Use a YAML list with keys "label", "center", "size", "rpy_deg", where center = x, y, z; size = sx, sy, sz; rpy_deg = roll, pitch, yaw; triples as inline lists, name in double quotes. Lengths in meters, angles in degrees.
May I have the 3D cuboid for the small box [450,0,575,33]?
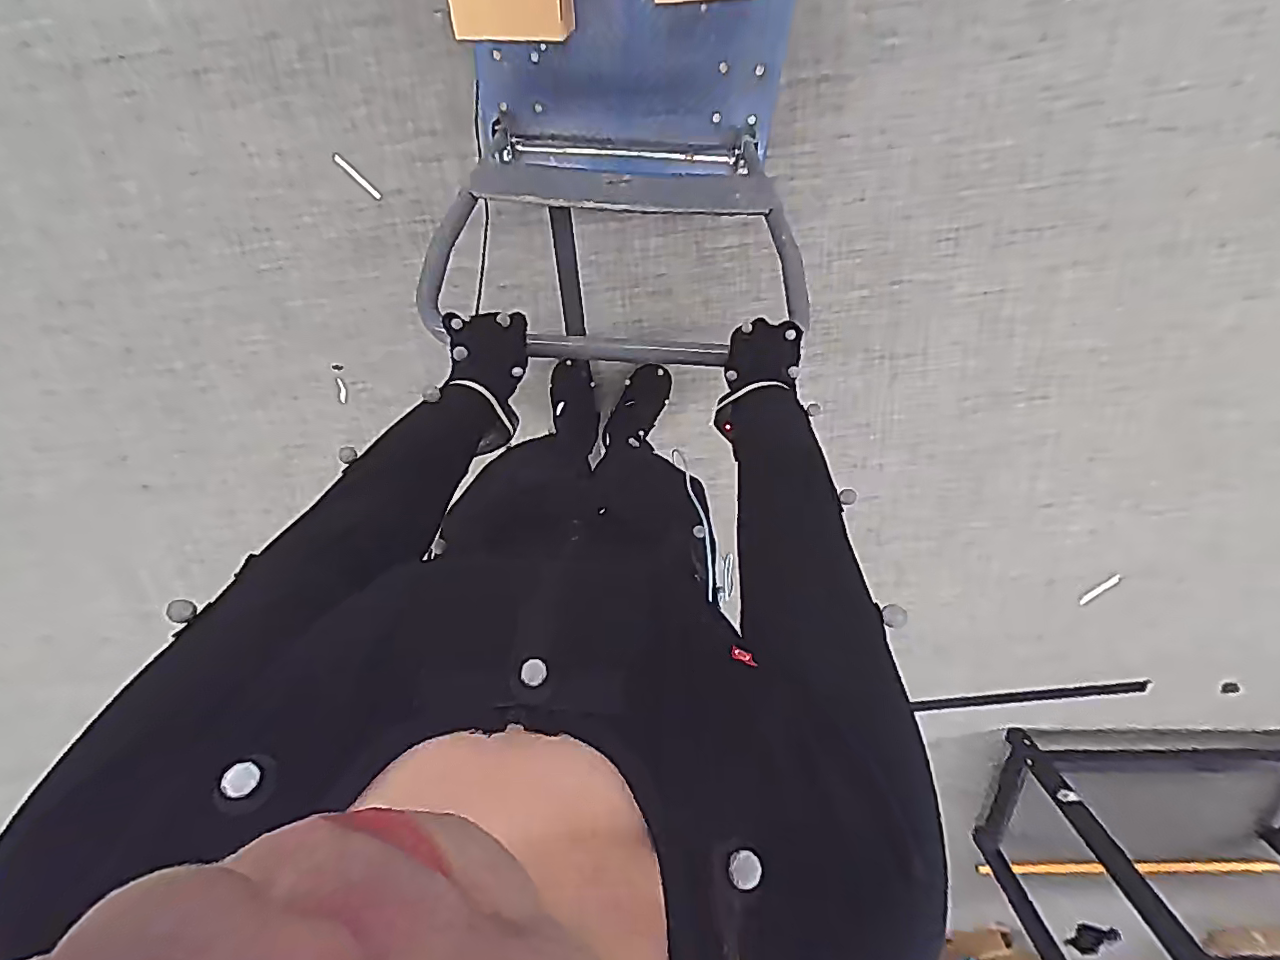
- label: "small box"
  center: [-0.203, -0.819, 0.852]
  size: [0.179, 0.176, 0.168]
  rpy_deg: [0, 135, 0]
